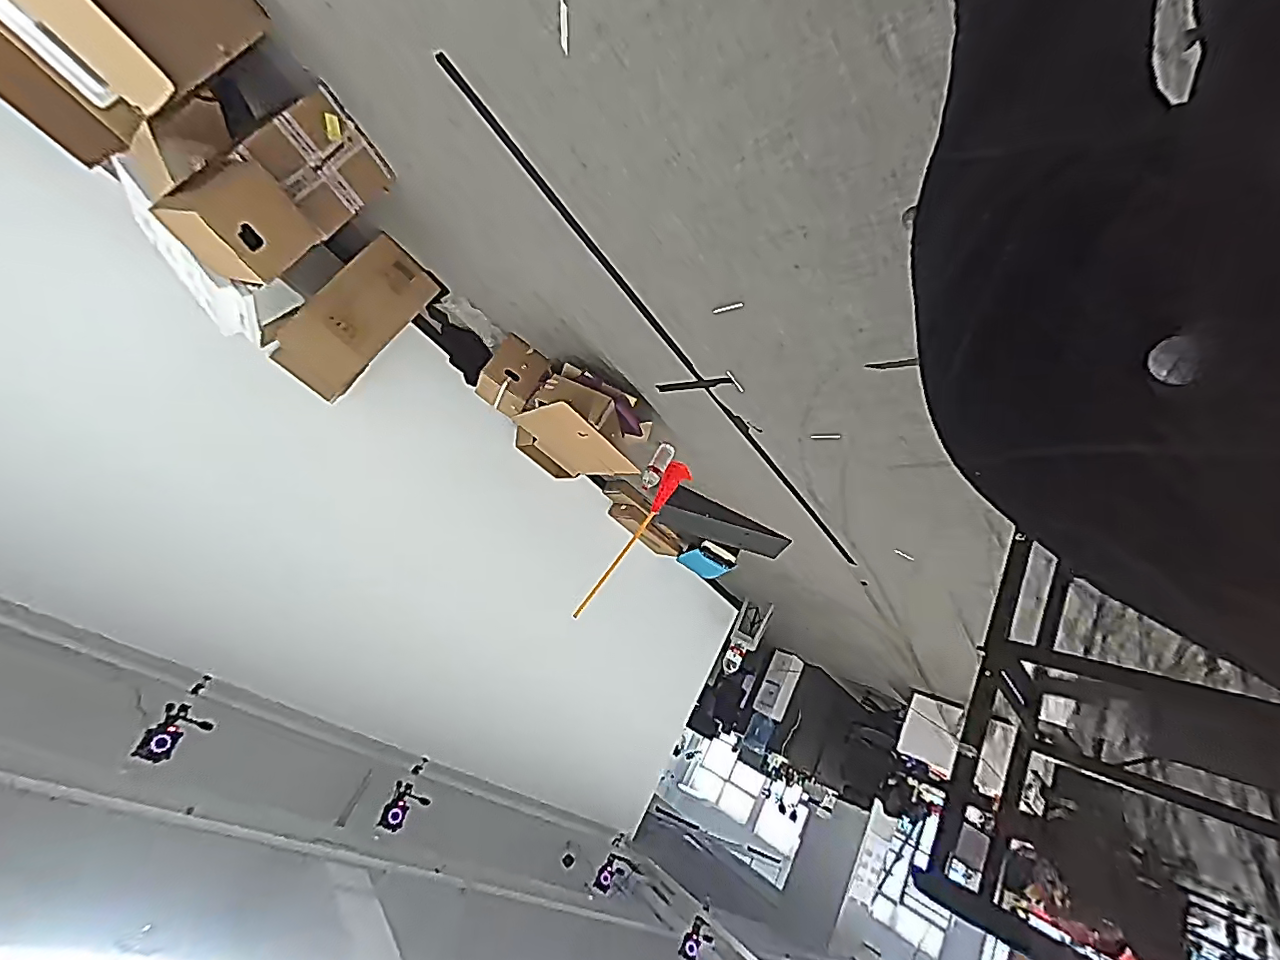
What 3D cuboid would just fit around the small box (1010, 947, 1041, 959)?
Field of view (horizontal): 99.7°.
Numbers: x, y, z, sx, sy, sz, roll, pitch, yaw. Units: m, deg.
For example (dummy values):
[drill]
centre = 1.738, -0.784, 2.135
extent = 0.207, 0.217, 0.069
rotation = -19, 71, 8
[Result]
[small box]
centre = 1.027, 1.318, 1.353
extent = 0.168, 0.176, 0.179
rotation = 4, 149, 49
